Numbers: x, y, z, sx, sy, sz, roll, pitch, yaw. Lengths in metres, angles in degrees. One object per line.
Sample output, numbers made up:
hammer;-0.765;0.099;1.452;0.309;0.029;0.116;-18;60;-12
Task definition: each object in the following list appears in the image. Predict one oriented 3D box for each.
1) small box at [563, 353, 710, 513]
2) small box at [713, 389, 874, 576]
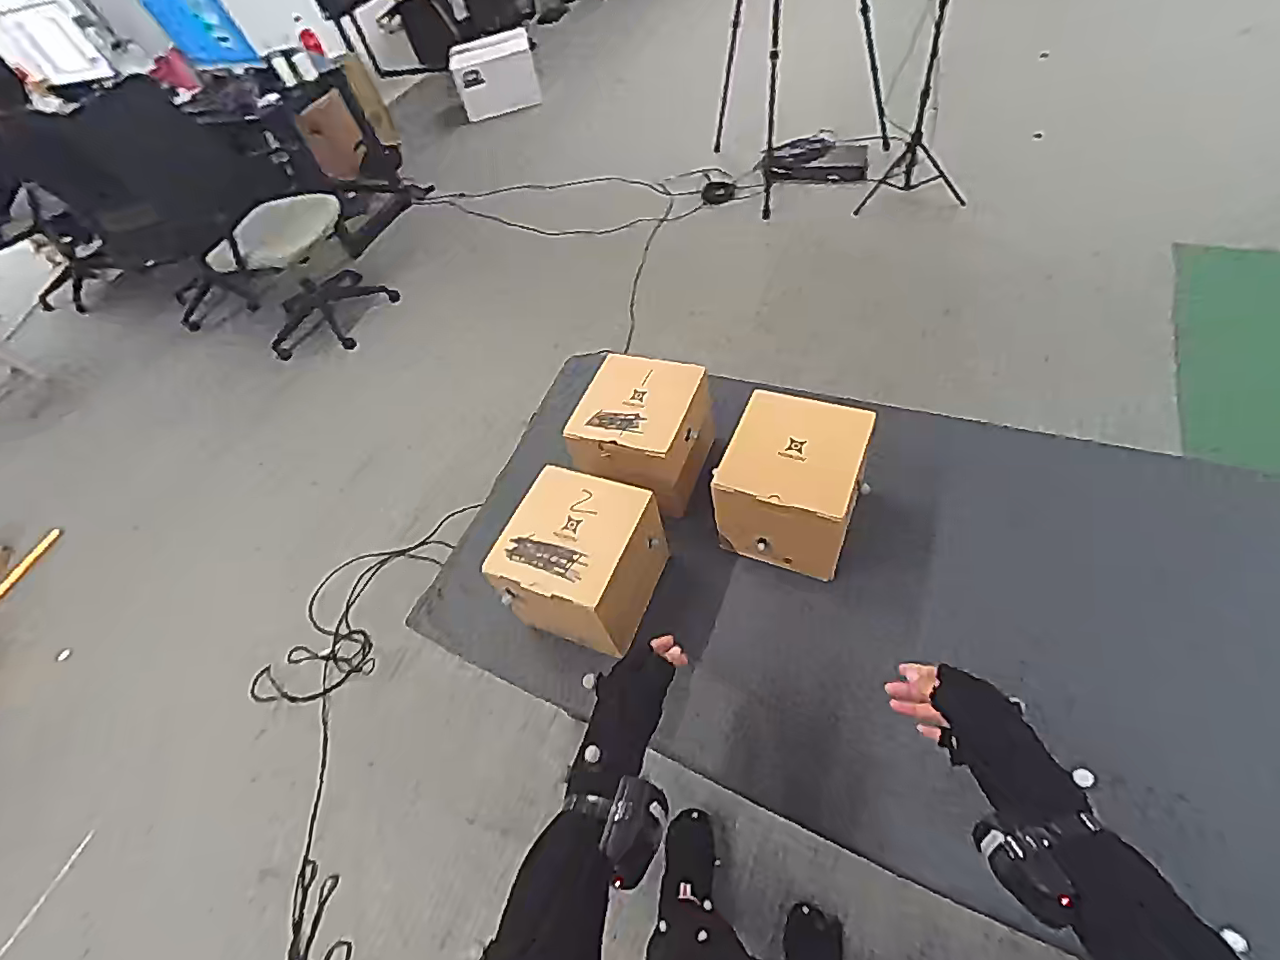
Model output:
small box;0.007;-0.072;0.858;0.168;0.176;0.179;13;59;21
small box;0.212;0.005;0.759;0.168;0.176;0.179;16;61;22
